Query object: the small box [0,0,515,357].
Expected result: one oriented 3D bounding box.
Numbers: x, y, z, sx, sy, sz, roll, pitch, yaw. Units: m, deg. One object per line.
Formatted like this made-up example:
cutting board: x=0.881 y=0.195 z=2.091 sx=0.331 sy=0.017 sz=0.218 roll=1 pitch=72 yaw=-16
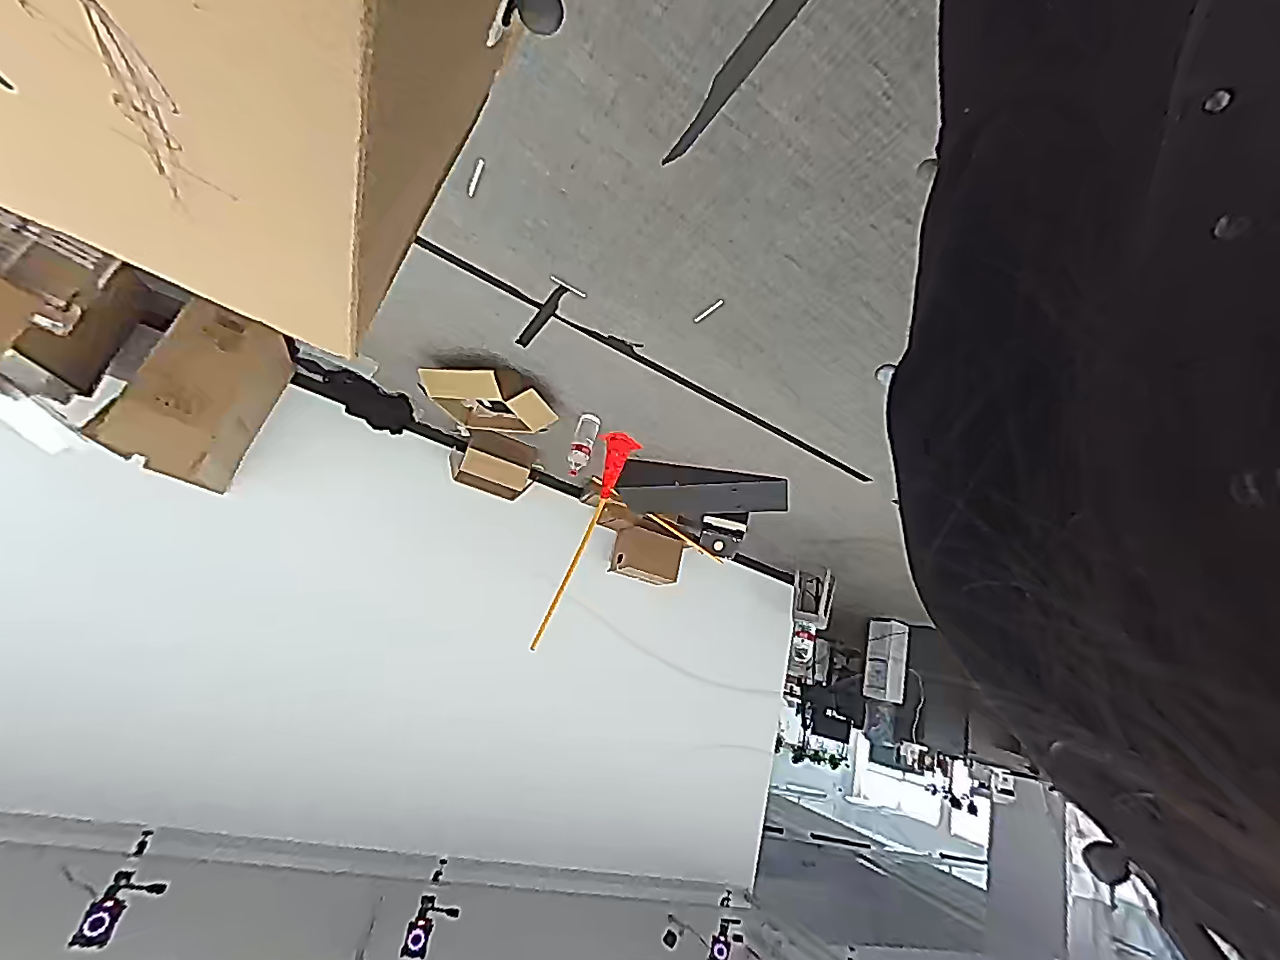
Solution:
small box: x=-0.126 y=-0.166 z=0.130 sx=0.179 sy=0.176 sz=0.168 roll=23 pitch=160 yaw=-23
